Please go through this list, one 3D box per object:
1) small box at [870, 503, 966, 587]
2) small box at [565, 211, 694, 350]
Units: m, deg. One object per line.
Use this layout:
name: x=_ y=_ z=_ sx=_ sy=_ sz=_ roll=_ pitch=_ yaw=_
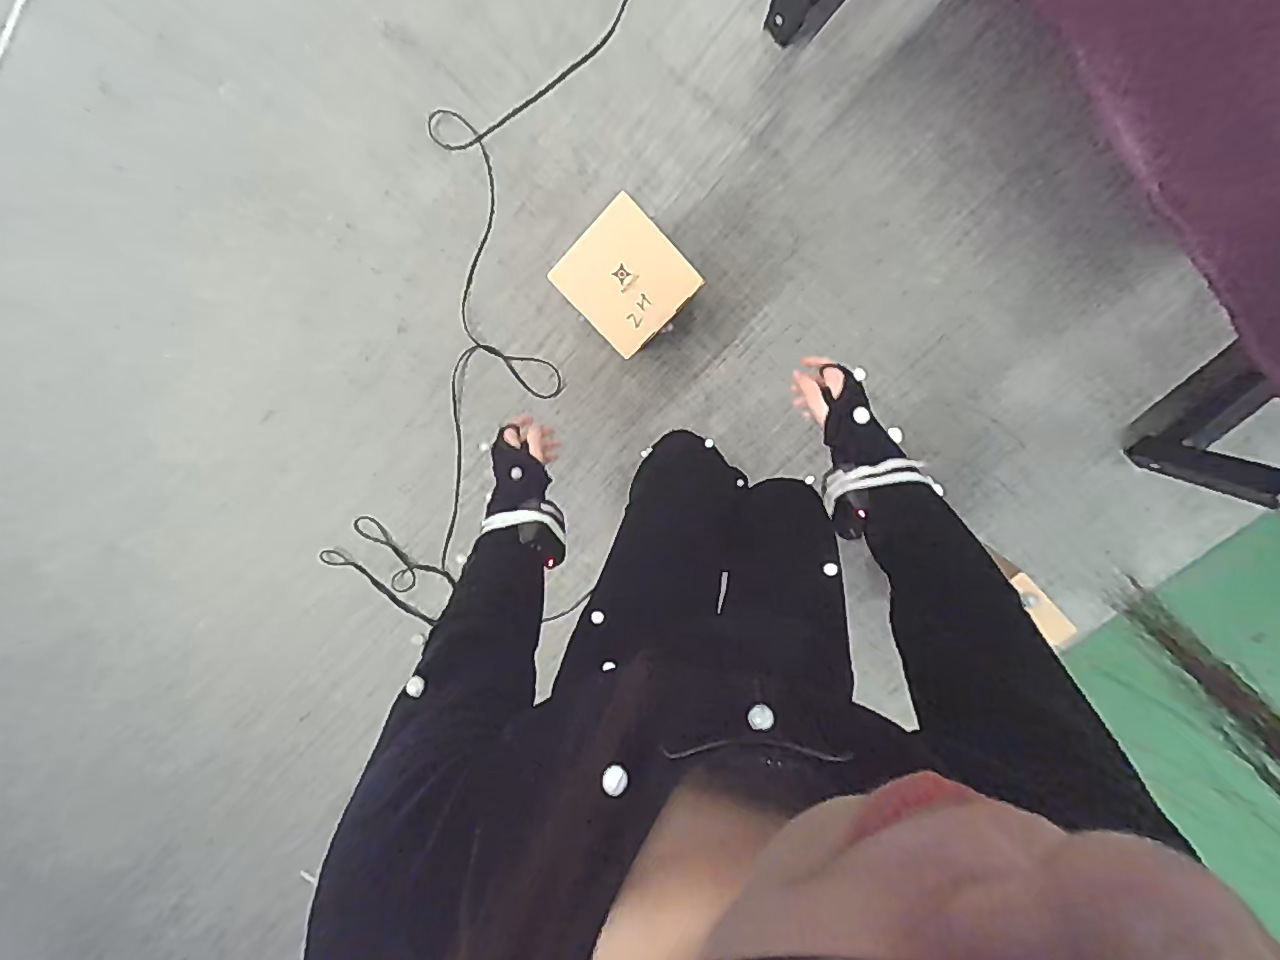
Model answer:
small box: x=0.637 y=0.169 z=1.170 sx=0.179 sy=0.176 sz=0.168 roll=40 pitch=105 yaw=-10
small box: x=-0.015 y=-0.370 z=1.030 sx=0.168 sy=0.176 sz=0.179 roll=43 pitch=103 yaw=-10
